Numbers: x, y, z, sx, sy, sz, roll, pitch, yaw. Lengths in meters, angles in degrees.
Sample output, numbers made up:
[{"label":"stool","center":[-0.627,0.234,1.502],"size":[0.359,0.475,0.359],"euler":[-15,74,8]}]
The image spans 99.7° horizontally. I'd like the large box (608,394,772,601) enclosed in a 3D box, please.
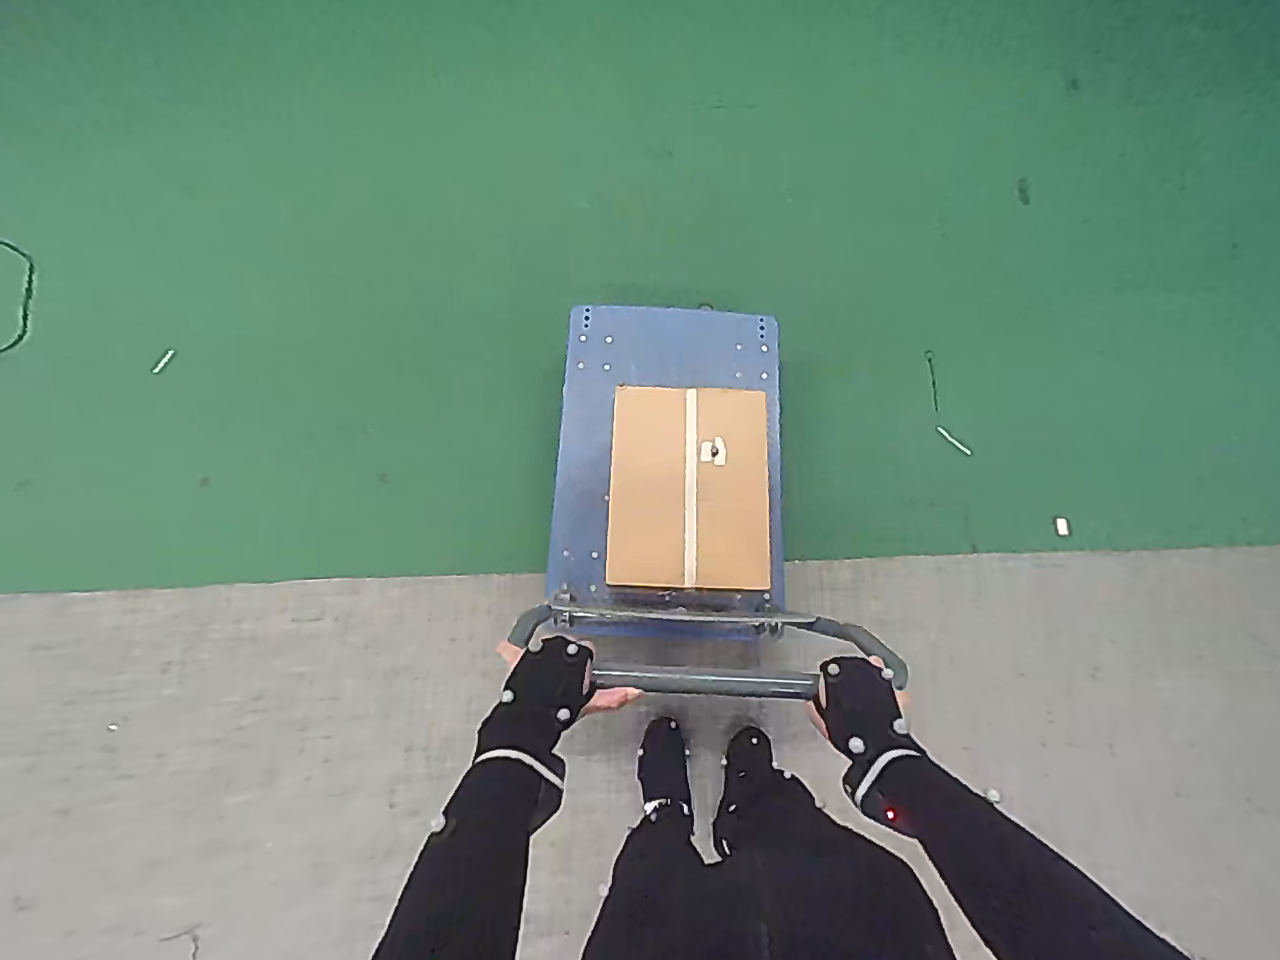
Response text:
[{"label":"large box","center":[0.097,0.058,1.209],"size":[0.320,0.320,0.408],"euler":[3,75,-1]}]
